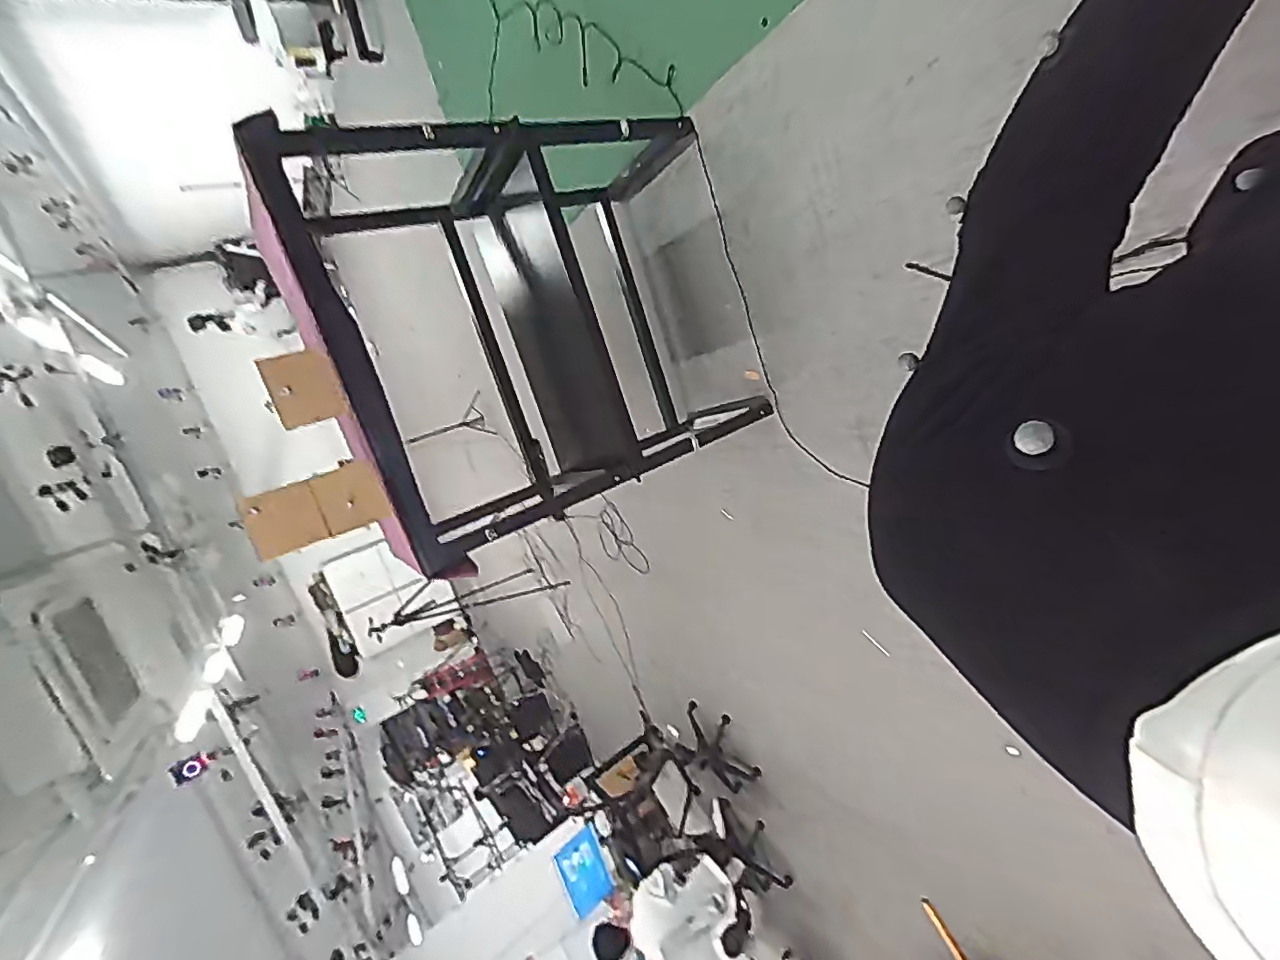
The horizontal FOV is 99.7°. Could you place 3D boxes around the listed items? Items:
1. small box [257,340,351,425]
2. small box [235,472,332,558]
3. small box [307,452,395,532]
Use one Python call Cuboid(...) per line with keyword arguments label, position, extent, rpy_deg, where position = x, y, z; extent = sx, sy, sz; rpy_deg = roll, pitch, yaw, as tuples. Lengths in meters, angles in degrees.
Cuboid(label="small box", position=(-0.907, -0.264, 1.474), extent=(0.168, 0.176, 0.179), rpy_deg=(-3, 107, 59))
Cuboid(label="small box", position=(-0.944, 0.090, 1.450), extent=(0.168, 0.176, 0.179), rpy_deg=(-6, 104, 60))
Cuboid(label="small box", position=(-0.812, 0.033, 1.527), extent=(0.168, 0.176, 0.179), rpy_deg=(-5, 106, 59))
